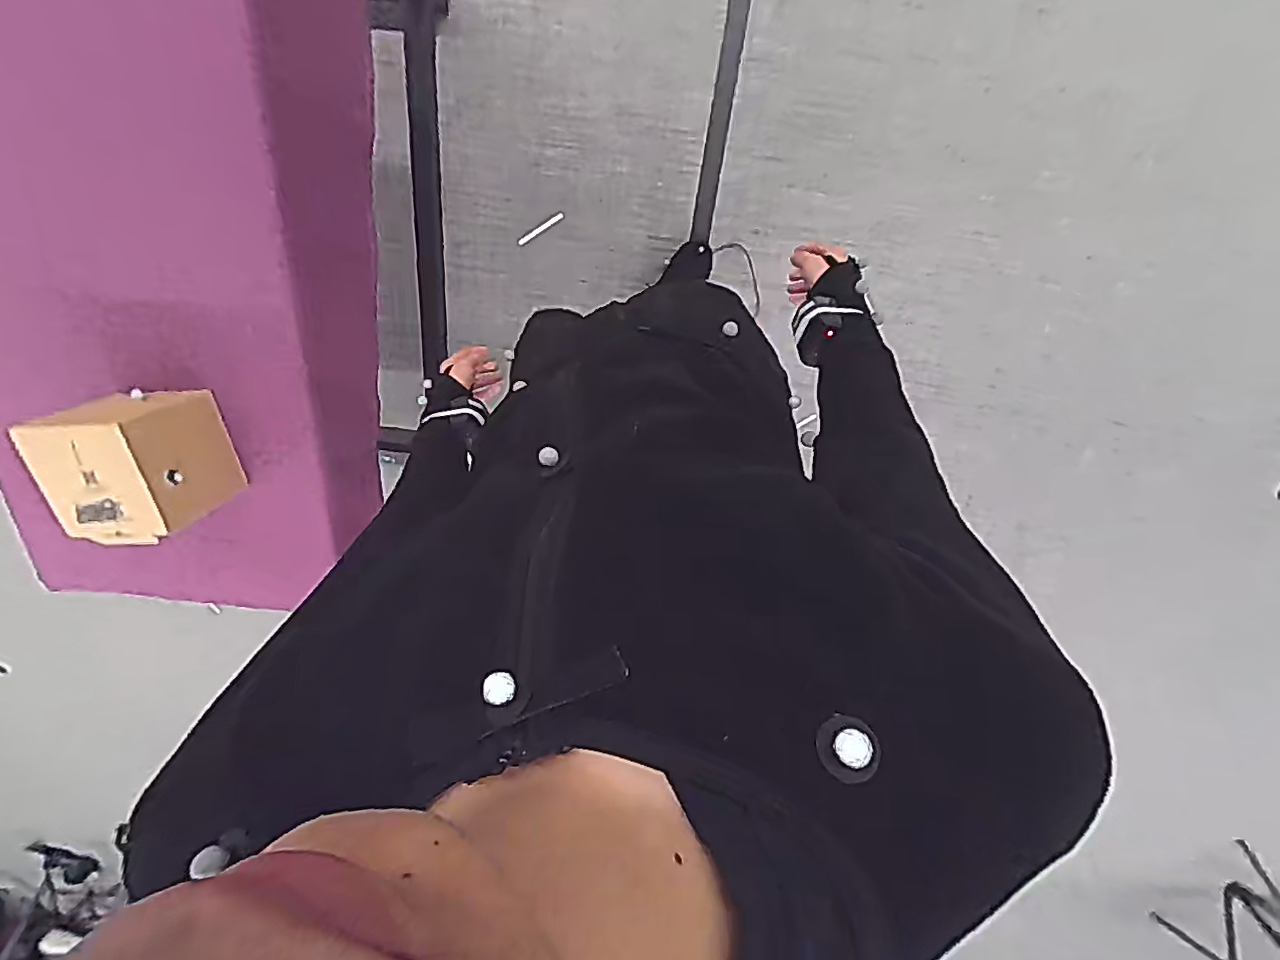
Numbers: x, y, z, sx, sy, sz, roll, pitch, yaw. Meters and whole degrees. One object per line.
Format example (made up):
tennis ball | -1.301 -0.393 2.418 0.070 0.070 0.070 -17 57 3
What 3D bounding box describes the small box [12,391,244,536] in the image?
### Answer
small box | -0.772 -0.030 0.843 0.168 0.176 0.179 -2 115 4
